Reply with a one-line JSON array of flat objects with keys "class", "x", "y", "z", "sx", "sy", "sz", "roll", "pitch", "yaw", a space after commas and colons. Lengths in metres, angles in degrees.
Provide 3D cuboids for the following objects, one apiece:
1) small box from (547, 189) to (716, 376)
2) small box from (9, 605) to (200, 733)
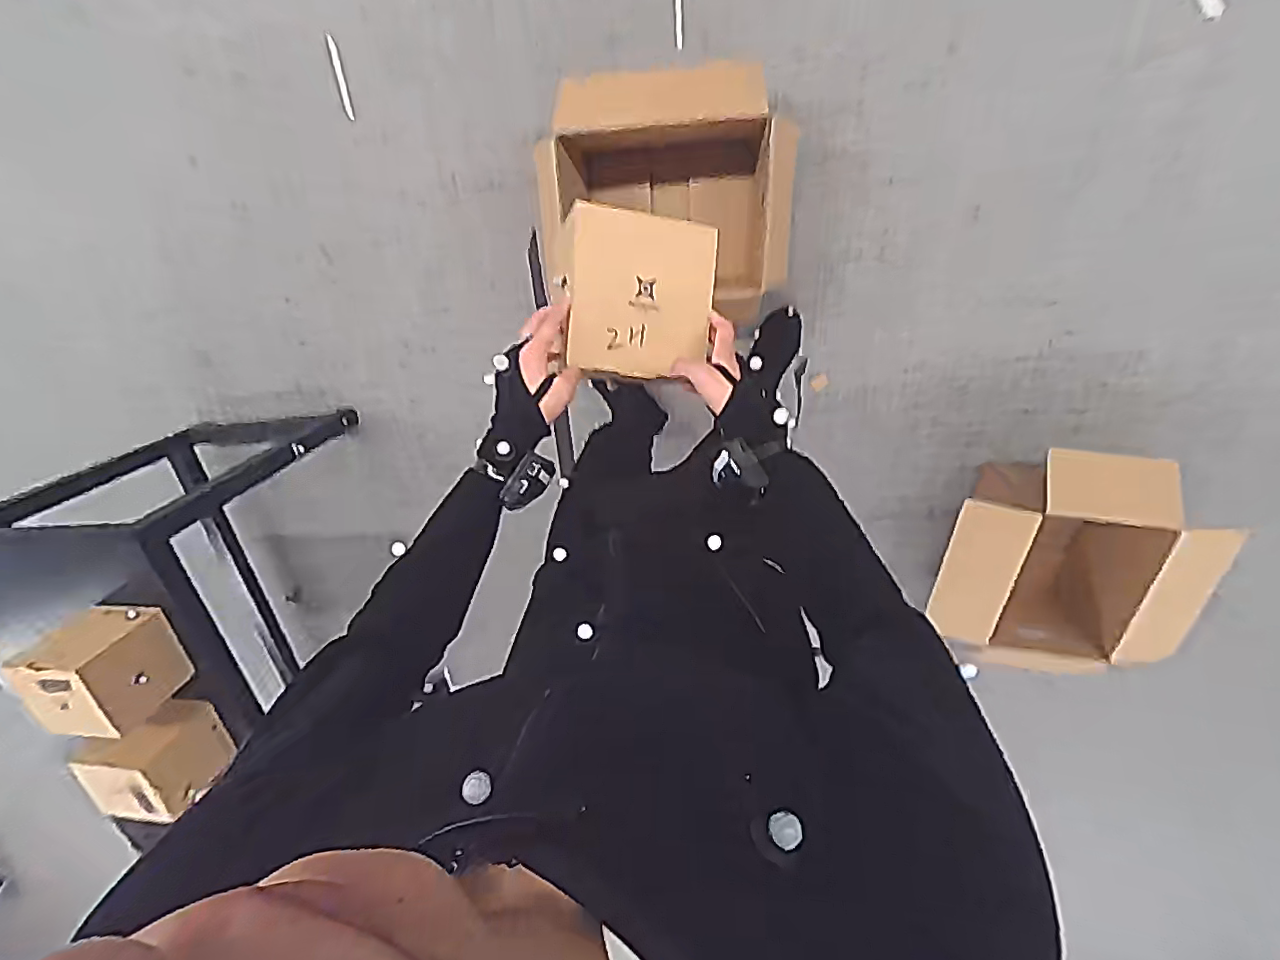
[{"class": "small box", "x": -0.021, "y": -0.227, "z": 0.671, "sx": 0.168, "sy": 0.176, "sz": 0.179, "roll": 2, "pitch": 99, "yaw": -17}, {"class": "small box", "x": -1.032, "y": 0.364, "z": 1.062, "sx": 0.168, "sy": 0.176, "sz": 0.179, "roll": 0, "pitch": 118, "yaw": 8}]
